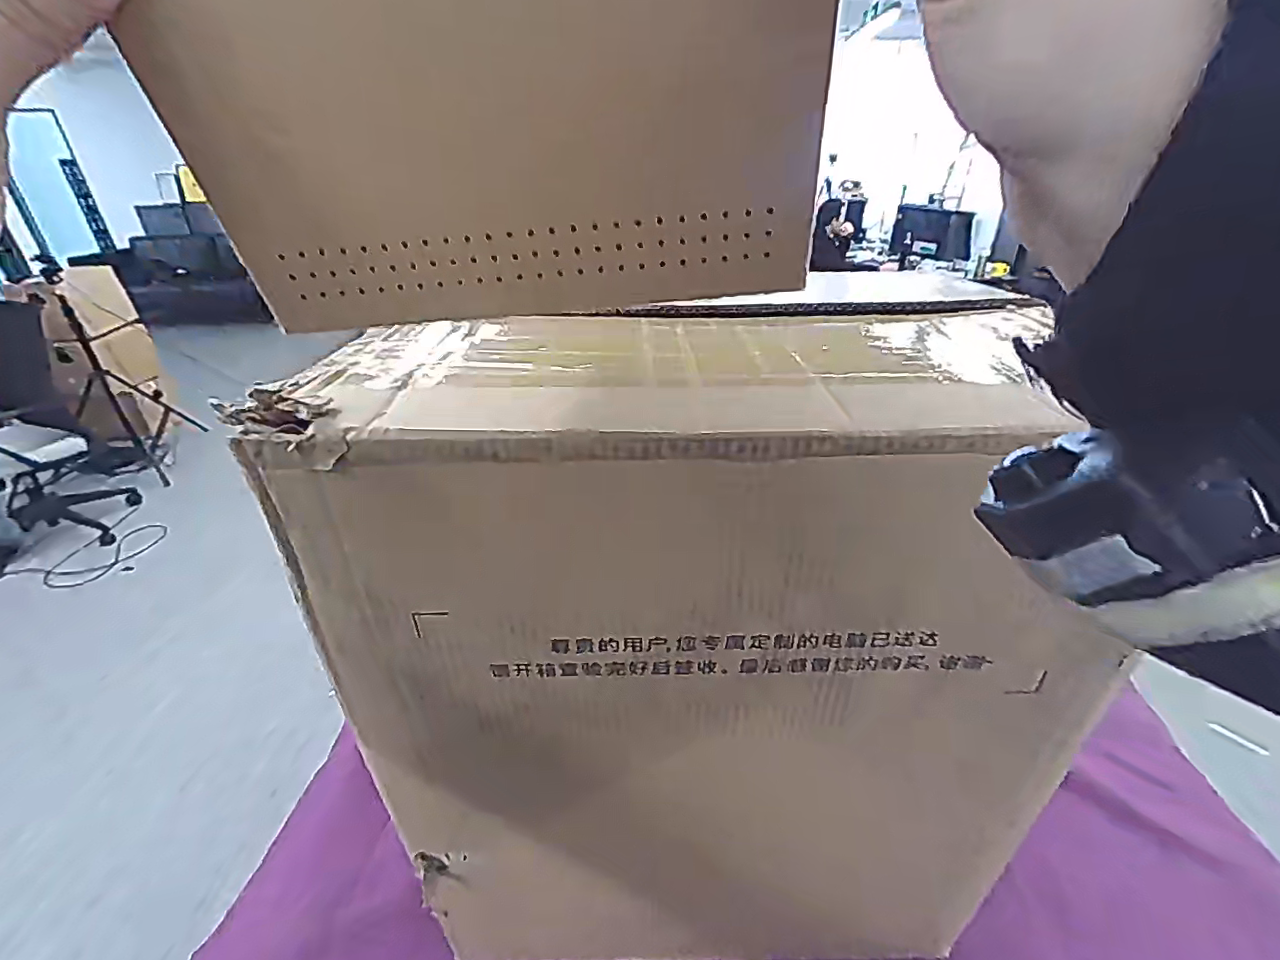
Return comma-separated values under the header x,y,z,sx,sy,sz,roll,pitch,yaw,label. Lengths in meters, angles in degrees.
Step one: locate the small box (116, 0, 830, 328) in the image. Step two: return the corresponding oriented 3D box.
x,y,z,sx,sy,sz,roll,pitch,yaw,label
-0.038,-0.168,0.181,0.179,0.176,0.168,-4,43,3,small box
